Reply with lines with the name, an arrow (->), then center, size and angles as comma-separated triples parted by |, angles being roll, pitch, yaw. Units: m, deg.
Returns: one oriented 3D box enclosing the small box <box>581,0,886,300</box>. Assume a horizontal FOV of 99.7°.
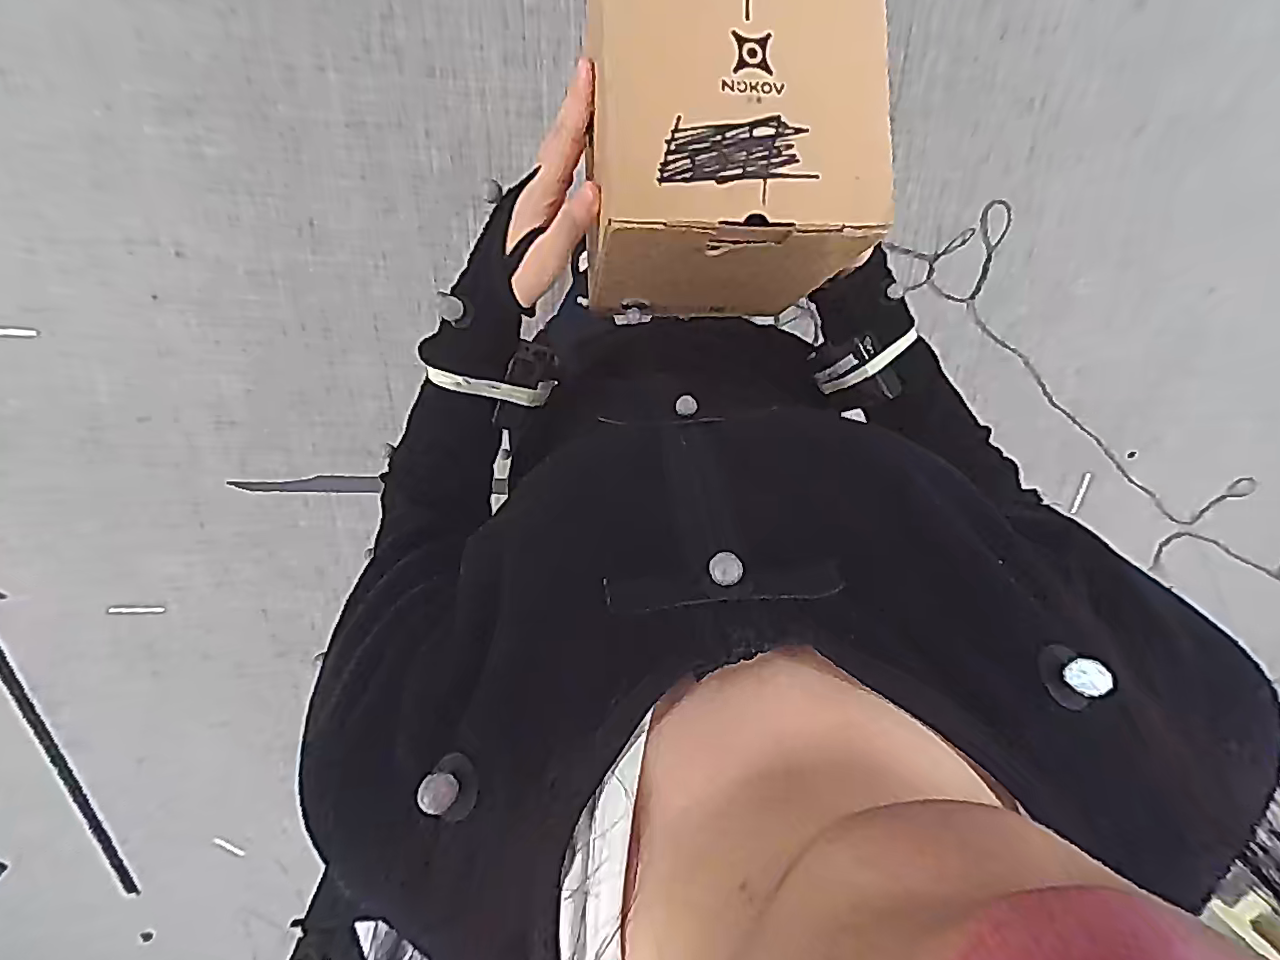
small box -> 0.045, -0.233, 0.373 | 0.168, 0.176, 0.179 | -2, 90, -8
